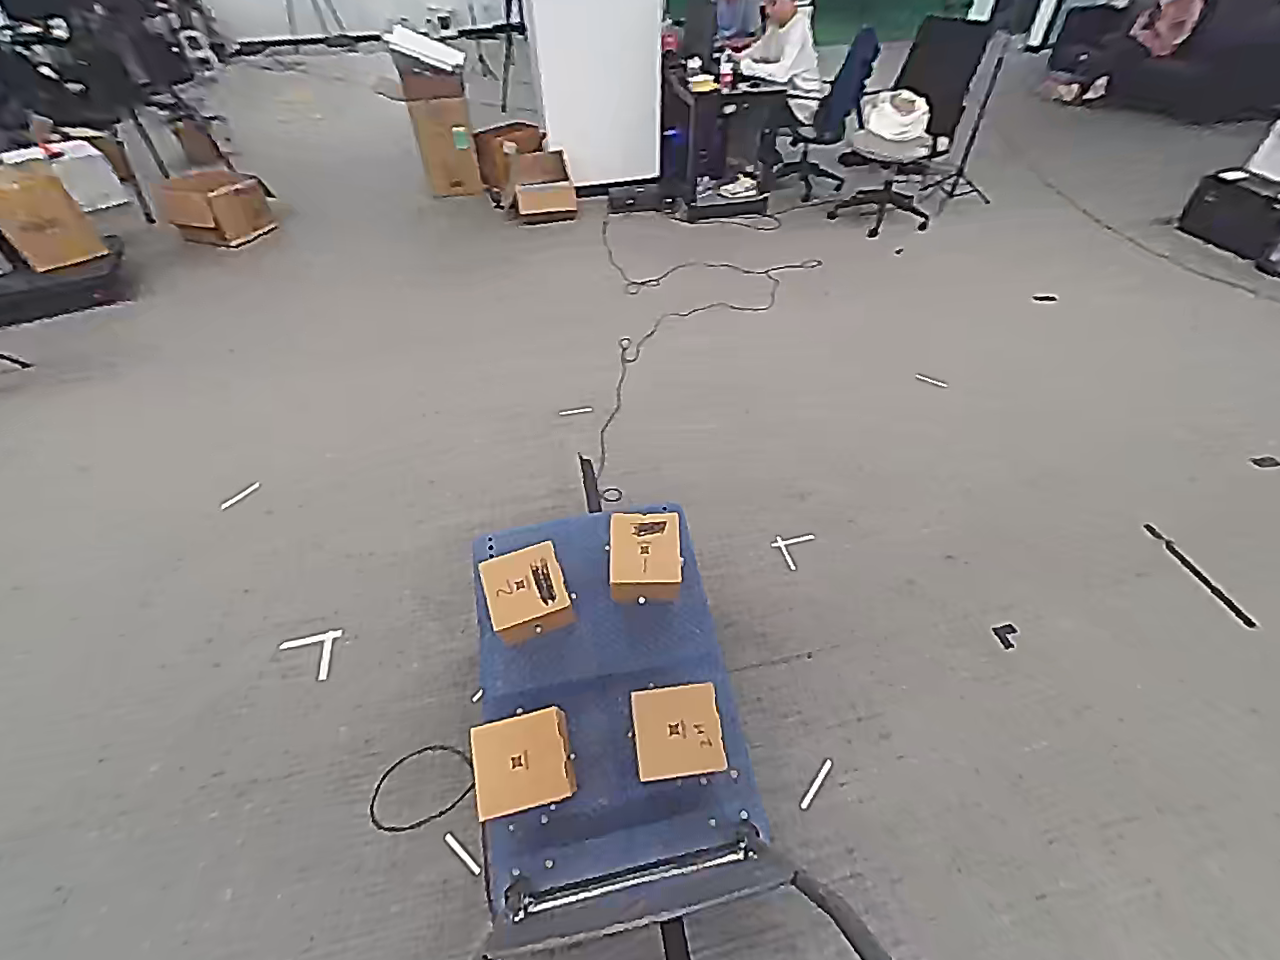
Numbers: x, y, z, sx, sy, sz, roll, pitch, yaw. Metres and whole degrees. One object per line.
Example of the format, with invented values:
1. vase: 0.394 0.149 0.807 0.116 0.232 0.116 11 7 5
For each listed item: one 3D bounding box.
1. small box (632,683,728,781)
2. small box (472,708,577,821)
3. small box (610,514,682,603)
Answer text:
1. small box: 0.078 0.541 1.155 0.179 0.176 0.168 -6 63 -4
2. small box: -0.235 0.589 1.120 0.179 0.176 0.168 -12 63 -10
3. small box: 0.010 0.196 1.336 0.168 0.176 0.179 0 63 -2
